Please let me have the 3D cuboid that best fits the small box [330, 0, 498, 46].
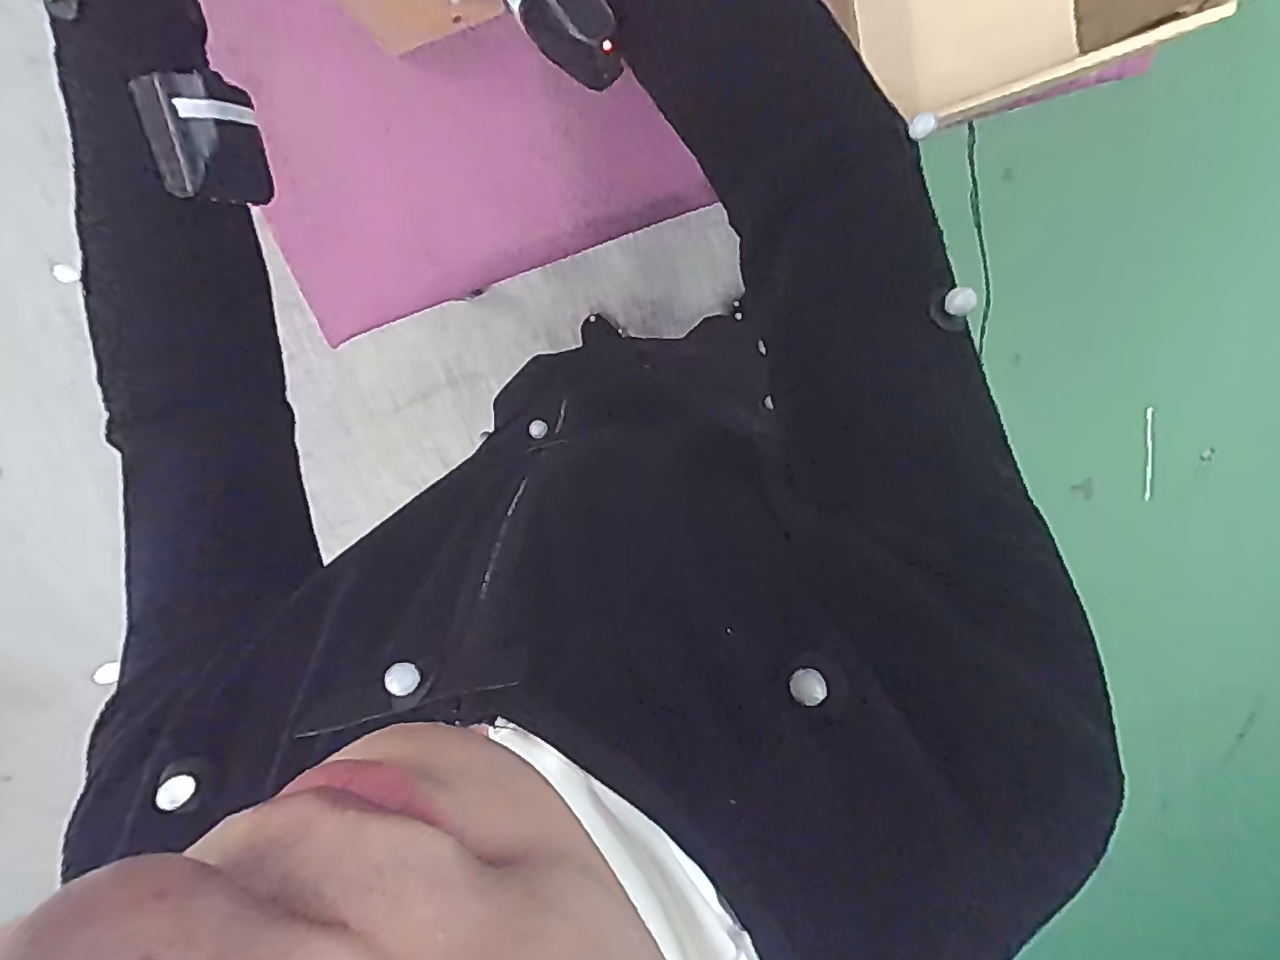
[{"bbox_3d":[-0.276,-0.627,0.600,0.168,0.176,0.179,-18,108,4],"label":"small box"}]
